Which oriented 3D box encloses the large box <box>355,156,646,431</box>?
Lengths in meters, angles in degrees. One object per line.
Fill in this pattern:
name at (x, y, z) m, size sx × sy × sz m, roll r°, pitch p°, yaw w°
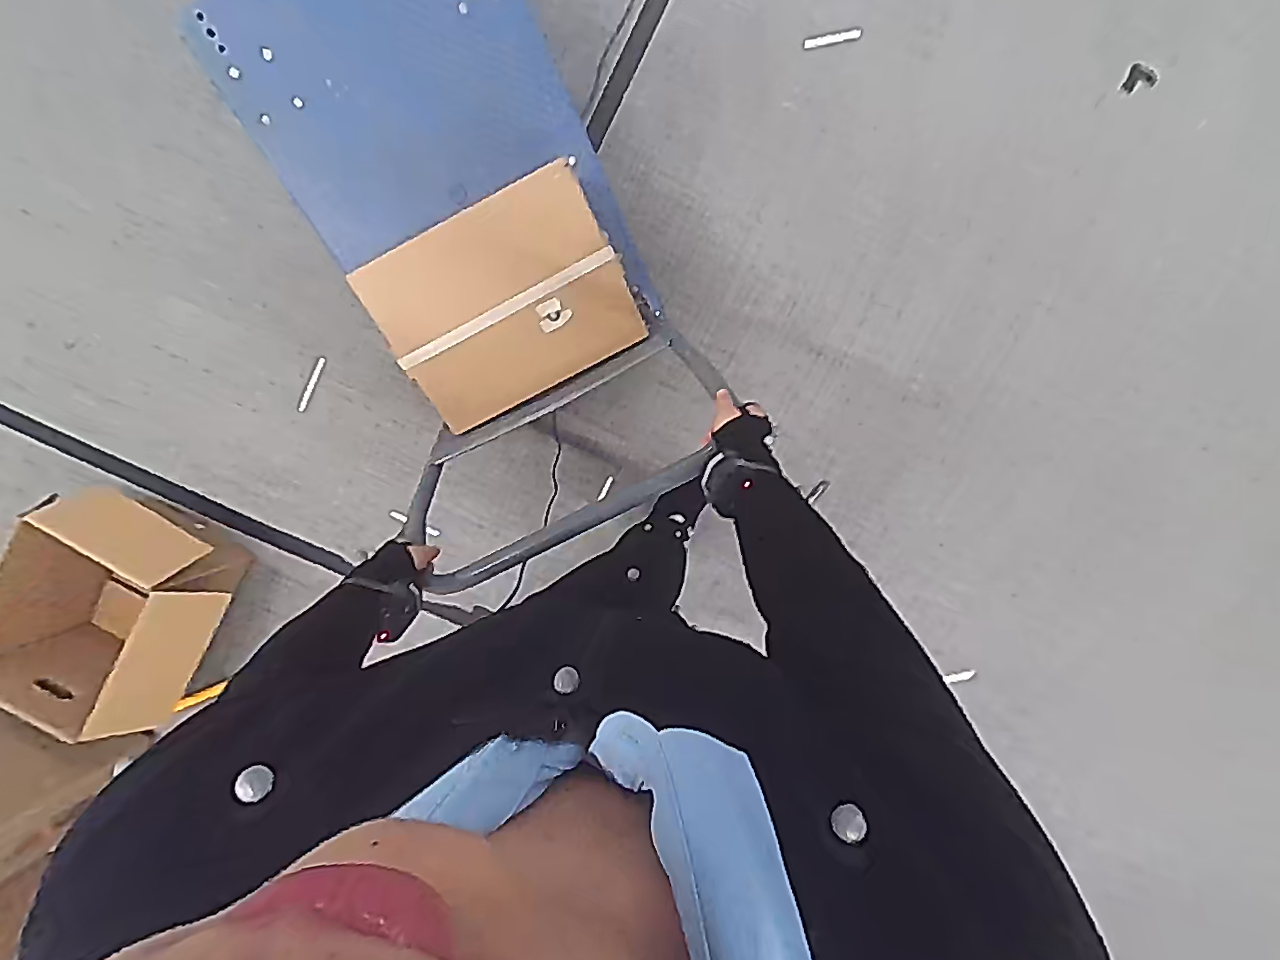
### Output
large box at (-0.251, -0.359, 1.064) m, size 0.408 × 0.320 × 0.320 m, roll -28°, pitch 116°, yaw 3°
